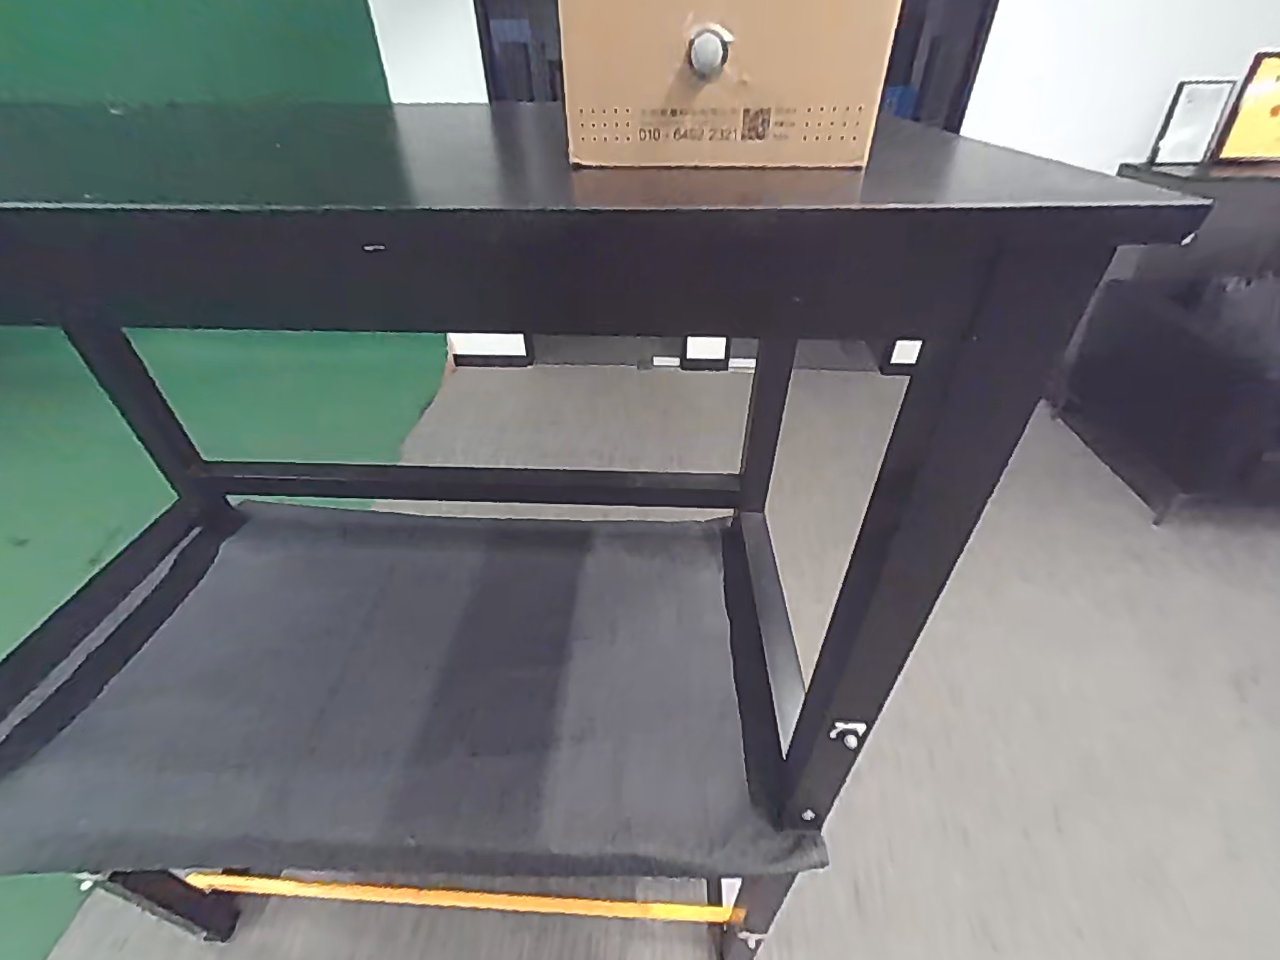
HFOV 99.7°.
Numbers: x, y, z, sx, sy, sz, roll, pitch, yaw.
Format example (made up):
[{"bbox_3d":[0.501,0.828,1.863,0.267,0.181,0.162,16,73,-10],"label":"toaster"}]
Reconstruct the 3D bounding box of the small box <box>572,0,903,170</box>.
[{"bbox_3d":[0.055,-0.293,0.316,0.168,0.176,0.179,4,39,7],"label":"small box"}]
